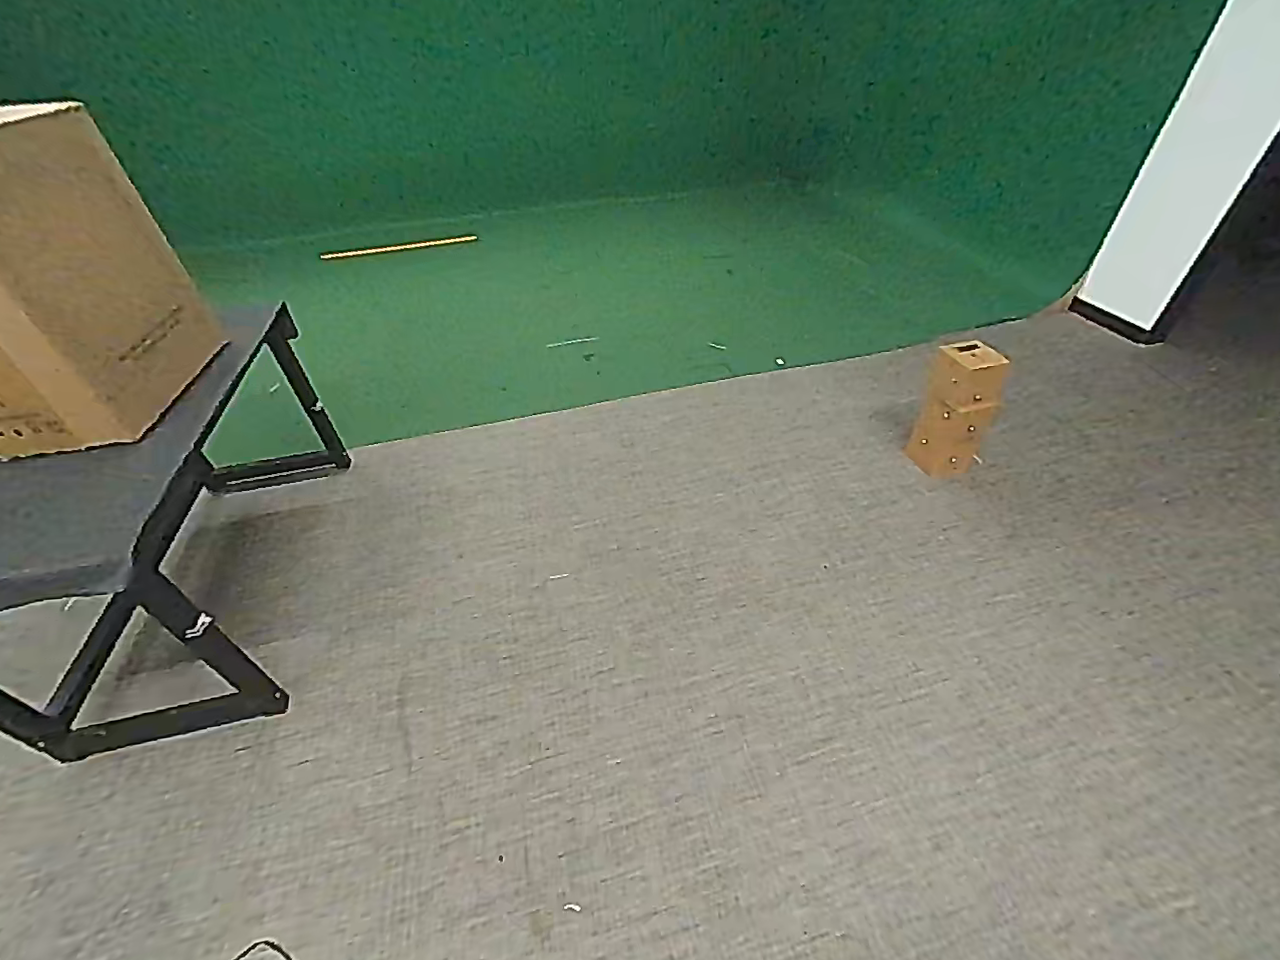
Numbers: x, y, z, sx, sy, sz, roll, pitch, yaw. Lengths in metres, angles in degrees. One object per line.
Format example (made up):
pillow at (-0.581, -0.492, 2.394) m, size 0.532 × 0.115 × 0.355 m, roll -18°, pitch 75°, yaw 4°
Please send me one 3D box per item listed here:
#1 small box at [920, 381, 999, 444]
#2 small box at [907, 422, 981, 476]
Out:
small box at (1.218, -0.253, 2.077) m, size 0.168 × 0.176 × 0.179 m, roll -12°, pitch 43°, yaw -10°
small box at (1.226, -0.135, 2.193) m, size 0.168 × 0.176 × 0.179 m, roll -13°, pitch 43°, yaw -10°
